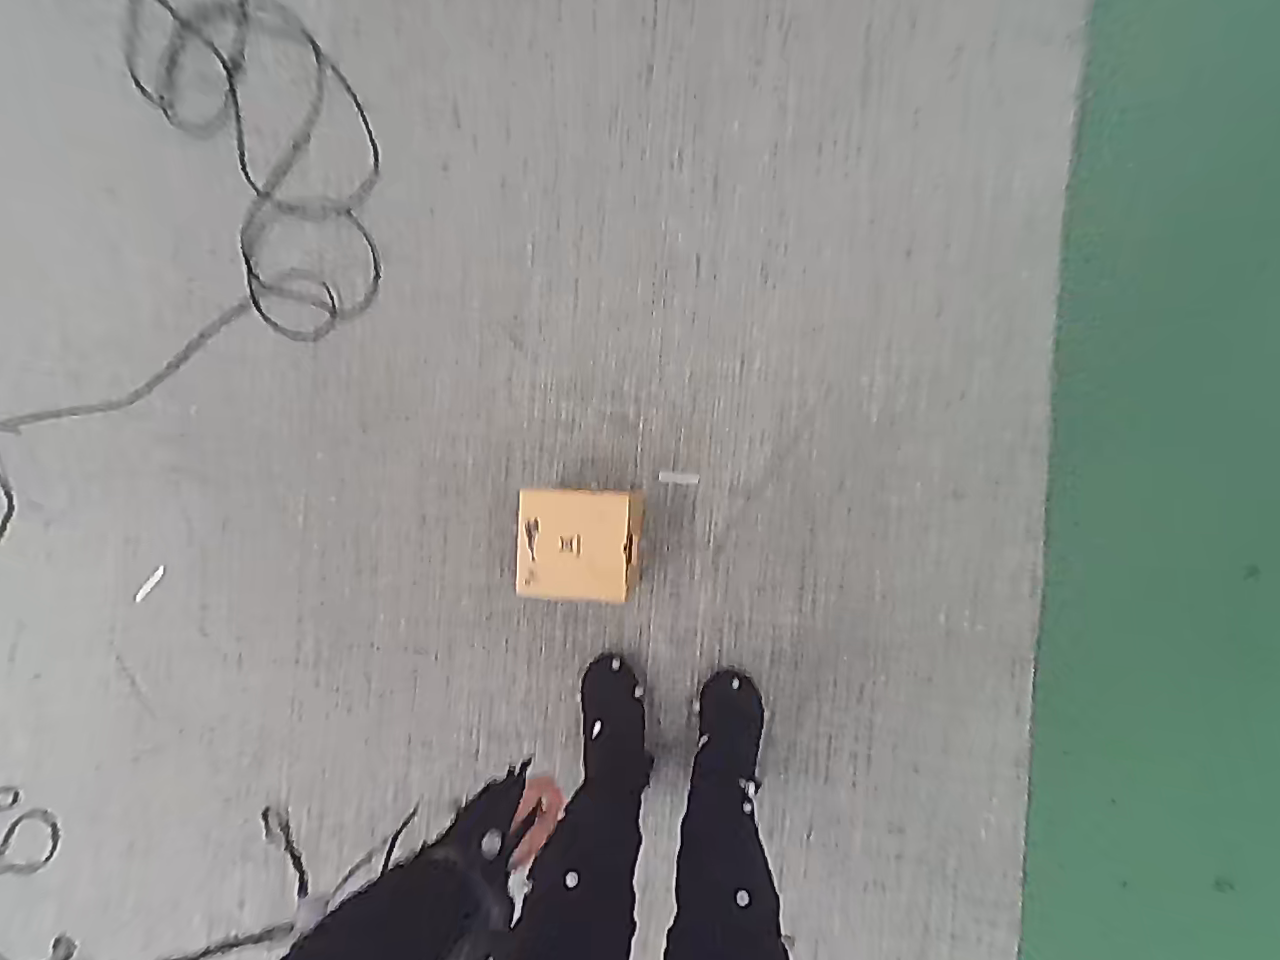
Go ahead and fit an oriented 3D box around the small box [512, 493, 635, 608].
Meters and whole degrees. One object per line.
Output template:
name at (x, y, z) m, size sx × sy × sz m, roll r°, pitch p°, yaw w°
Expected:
small box at (-0.103, 0.109, 0.911) m, size 0.179 × 0.176 × 0.168 m, roll 2°, pitch 91°, yaw 6°
